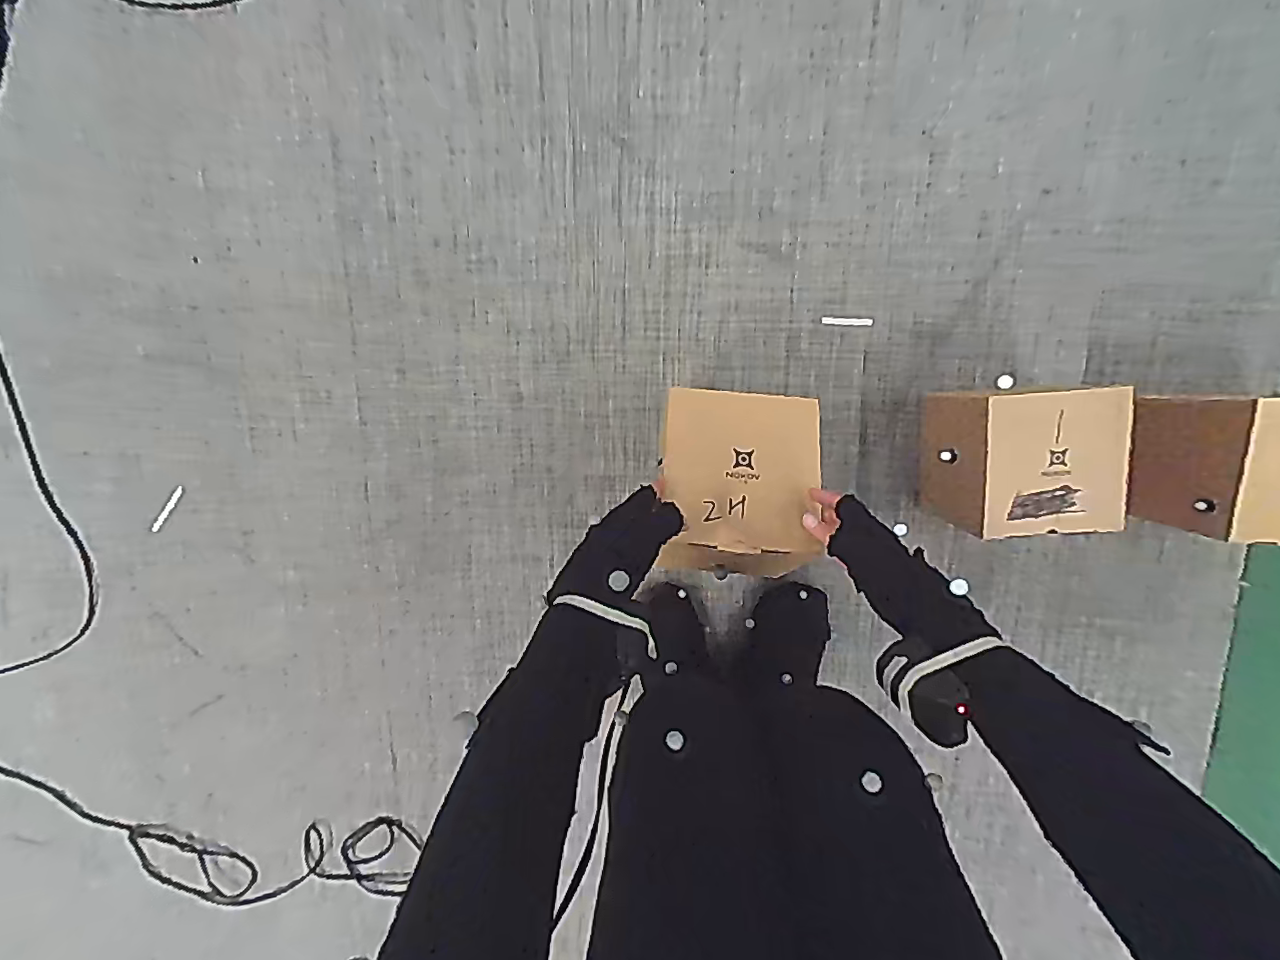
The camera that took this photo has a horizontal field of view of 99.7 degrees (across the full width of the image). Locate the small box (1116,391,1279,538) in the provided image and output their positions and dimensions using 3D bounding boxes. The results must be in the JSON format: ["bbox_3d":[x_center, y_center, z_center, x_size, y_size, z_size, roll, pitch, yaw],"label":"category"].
[{"bbox_3d":[0.783,-0.028,0.716,0.168,0.176,0.179,1,100,3],"label":"small box"}]

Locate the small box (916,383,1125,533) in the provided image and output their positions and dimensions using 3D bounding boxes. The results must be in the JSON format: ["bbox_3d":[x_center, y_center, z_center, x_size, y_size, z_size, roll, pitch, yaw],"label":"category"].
[{"bbox_3d":[0.490,-0.038,0.724,0.168,0.176,0.179,-4,99,3],"label":"small box"}]

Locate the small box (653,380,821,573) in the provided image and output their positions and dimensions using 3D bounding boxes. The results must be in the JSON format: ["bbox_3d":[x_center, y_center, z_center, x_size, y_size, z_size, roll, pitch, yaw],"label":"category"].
[{"bbox_3d":[0.105,0.005,0.641,0.168,0.176,0.179,5,72,1],"label":"small box"}]
